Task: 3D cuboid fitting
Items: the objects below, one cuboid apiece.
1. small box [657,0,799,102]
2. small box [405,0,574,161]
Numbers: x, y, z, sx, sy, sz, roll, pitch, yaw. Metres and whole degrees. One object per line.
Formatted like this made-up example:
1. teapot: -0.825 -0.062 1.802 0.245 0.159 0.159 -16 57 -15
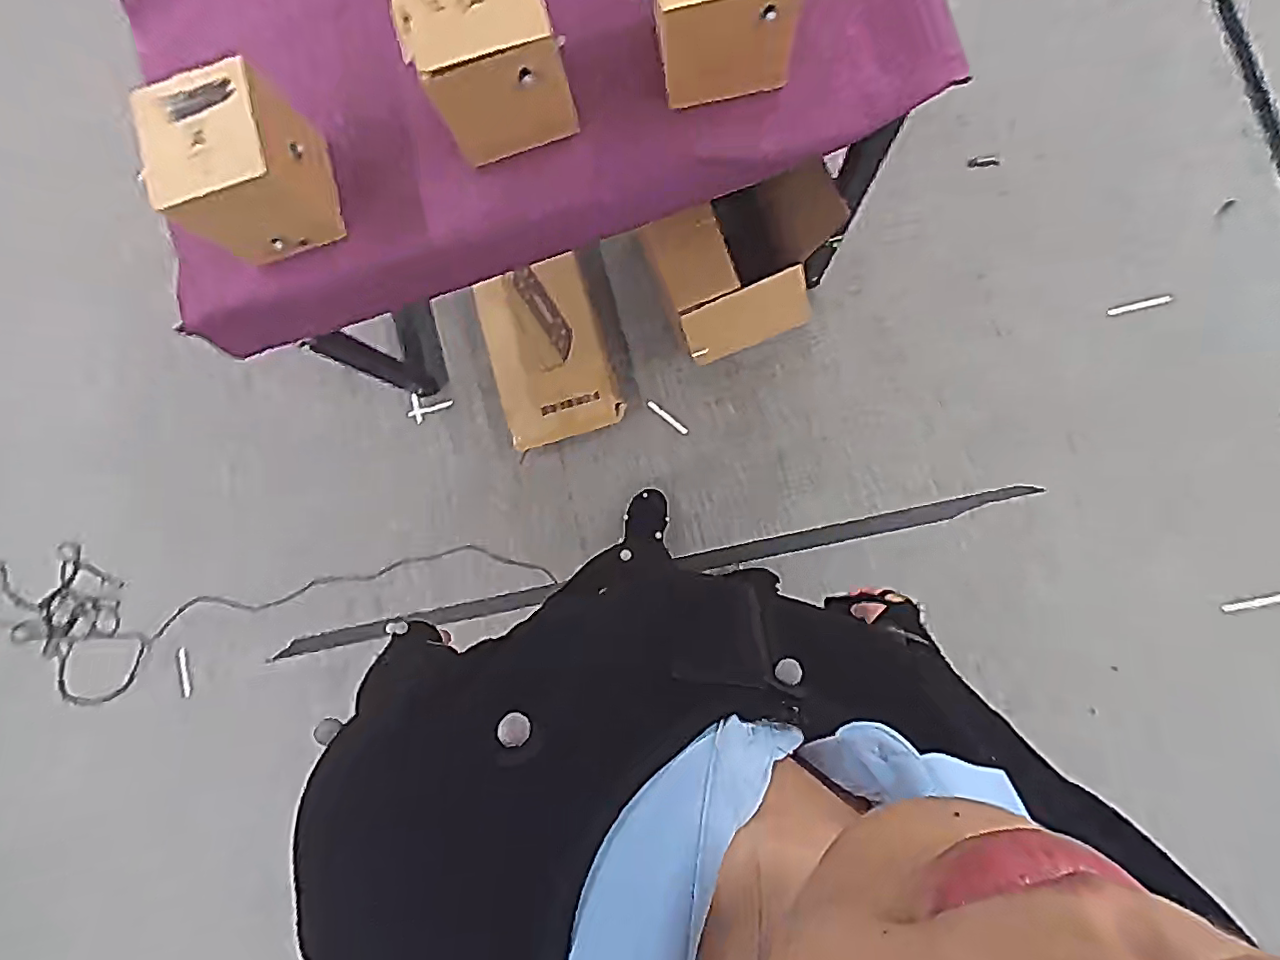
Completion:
1. small box: 0.112 -0.654 0.729 0.179 0.176 0.168 -9 86 5
2. small box: -0.199 -0.592 0.755 0.179 0.176 0.168 -16 83 5
